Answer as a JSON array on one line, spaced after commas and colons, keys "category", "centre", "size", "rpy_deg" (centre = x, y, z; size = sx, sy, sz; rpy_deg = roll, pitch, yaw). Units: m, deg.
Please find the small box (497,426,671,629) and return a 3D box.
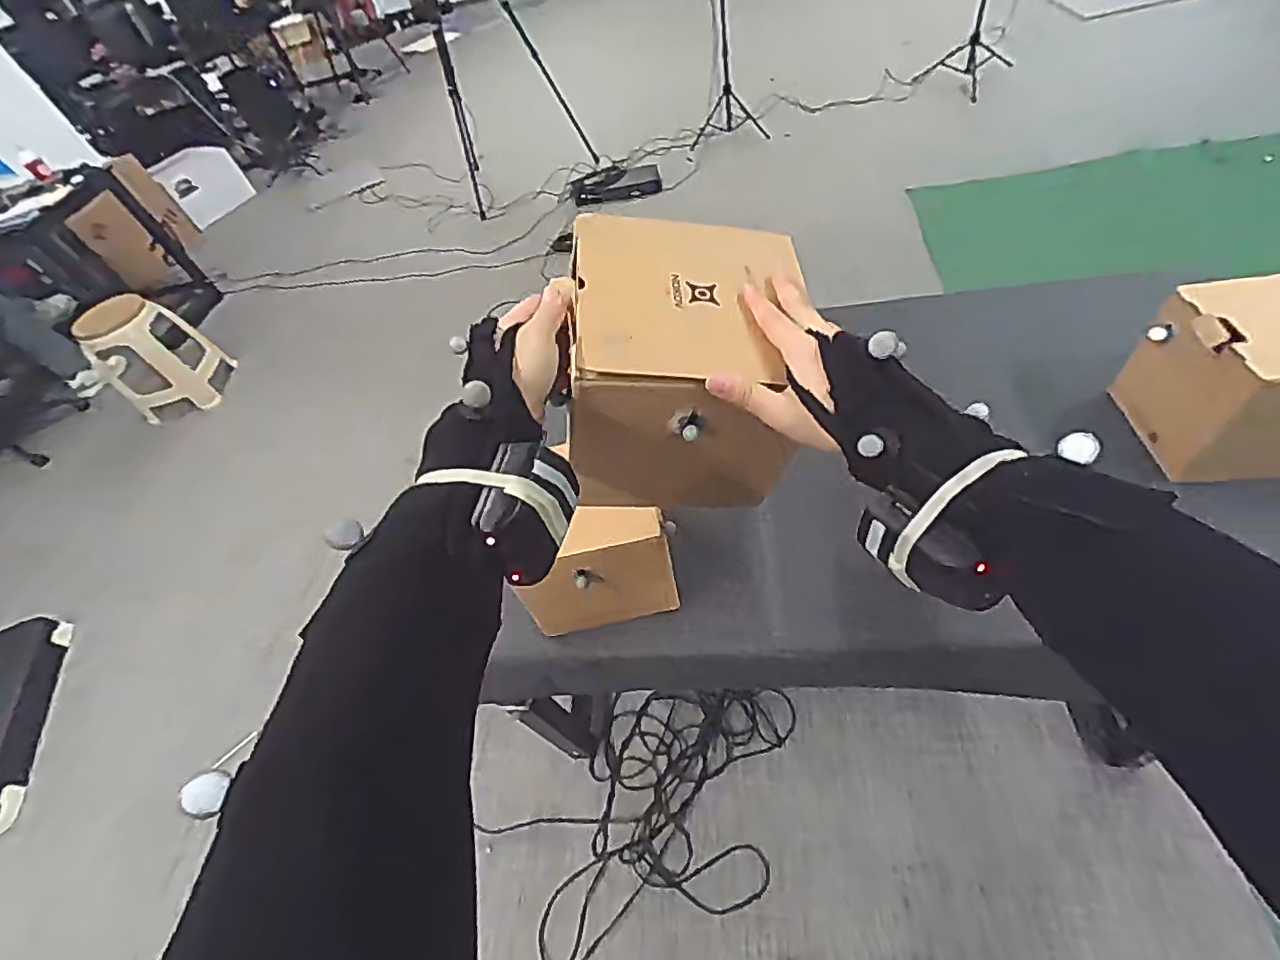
[{"category": "small box", "centre": [-0.061, 0.064, 0.670], "size": [0.179, 0.176, 0.168], "rpy_deg": [-13, 50, 3]}]
